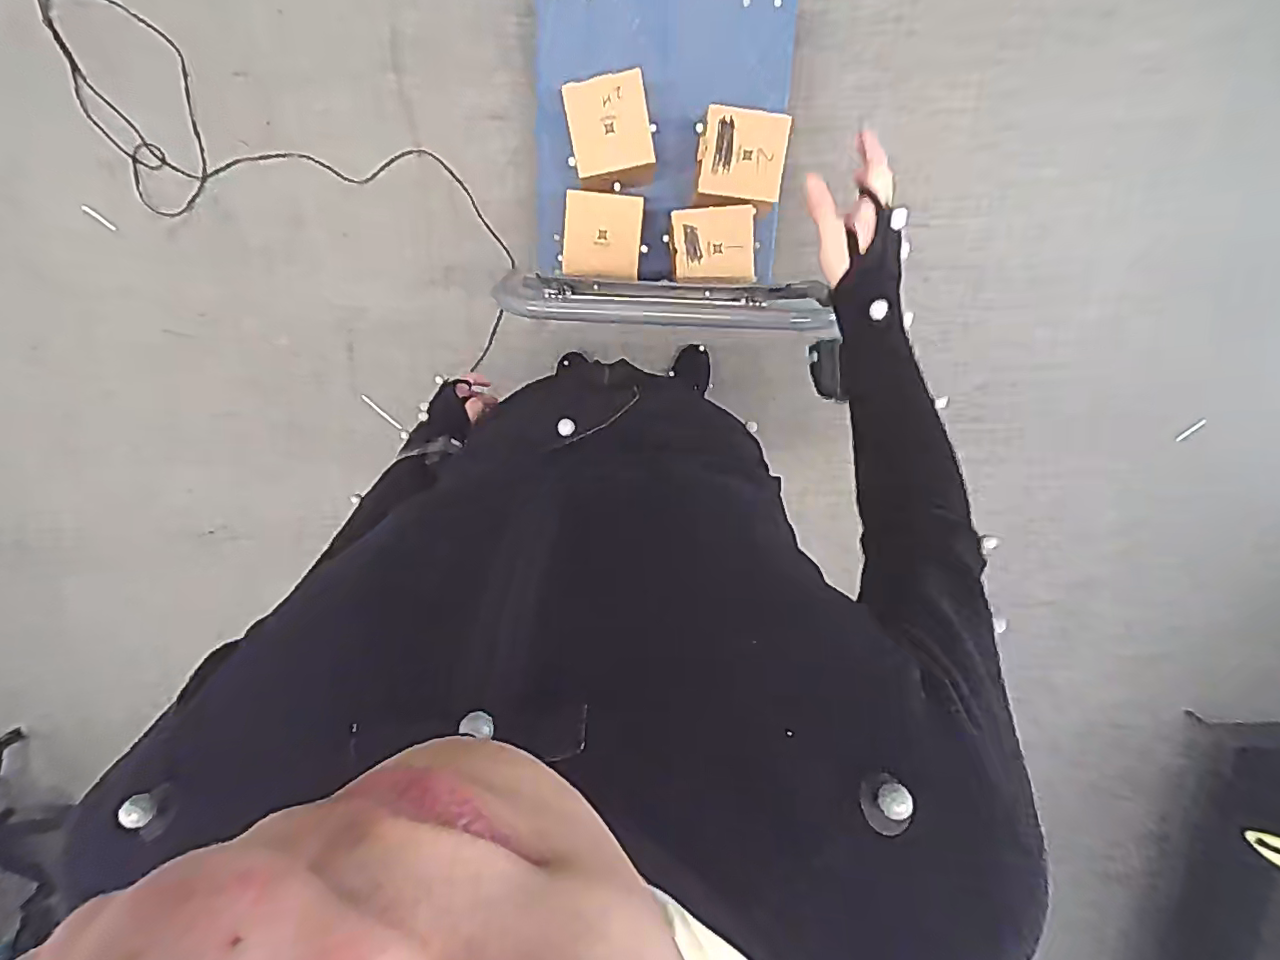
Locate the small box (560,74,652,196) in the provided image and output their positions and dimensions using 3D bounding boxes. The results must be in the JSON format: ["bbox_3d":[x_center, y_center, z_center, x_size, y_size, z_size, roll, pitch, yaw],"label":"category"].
[{"bbox_3d":[-0.068,-0.741,1.185,0.168,0.176,0.179,-10,104,1],"label":"small box"}]
